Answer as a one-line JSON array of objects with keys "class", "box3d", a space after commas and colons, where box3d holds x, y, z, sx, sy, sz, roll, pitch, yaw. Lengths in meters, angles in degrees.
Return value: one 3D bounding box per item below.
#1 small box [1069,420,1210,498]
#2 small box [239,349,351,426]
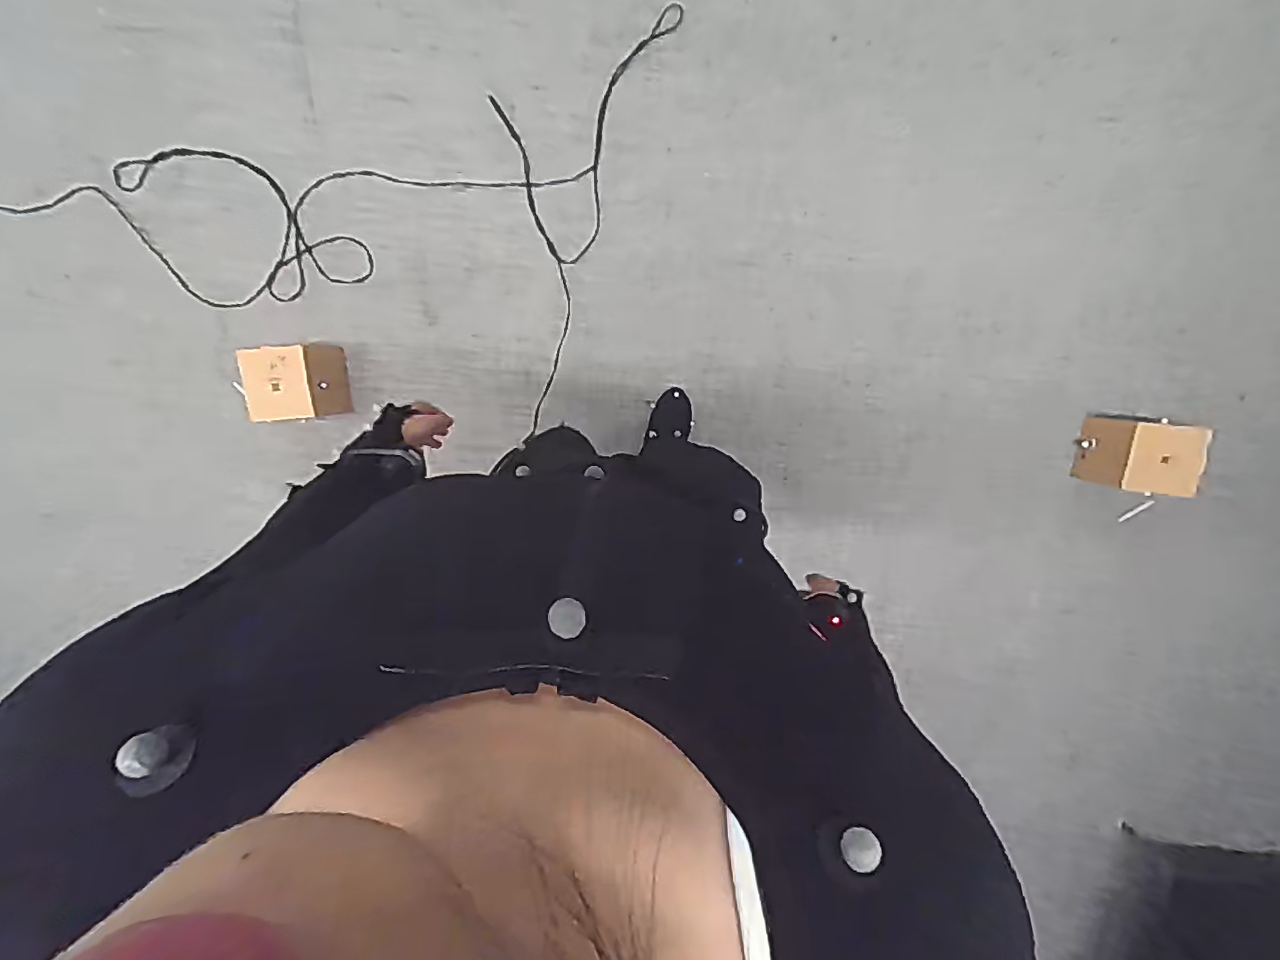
[{"class": "small box", "box3d": [1.239, -0.059, 1.354, 0.179, 0.176, 0.168, 5, 100, 2]}, {"class": "small box", "box3d": [-0.864, -0.237, 1.373, 0.168, 0.176, 0.179, -4, 101, 3]}]
